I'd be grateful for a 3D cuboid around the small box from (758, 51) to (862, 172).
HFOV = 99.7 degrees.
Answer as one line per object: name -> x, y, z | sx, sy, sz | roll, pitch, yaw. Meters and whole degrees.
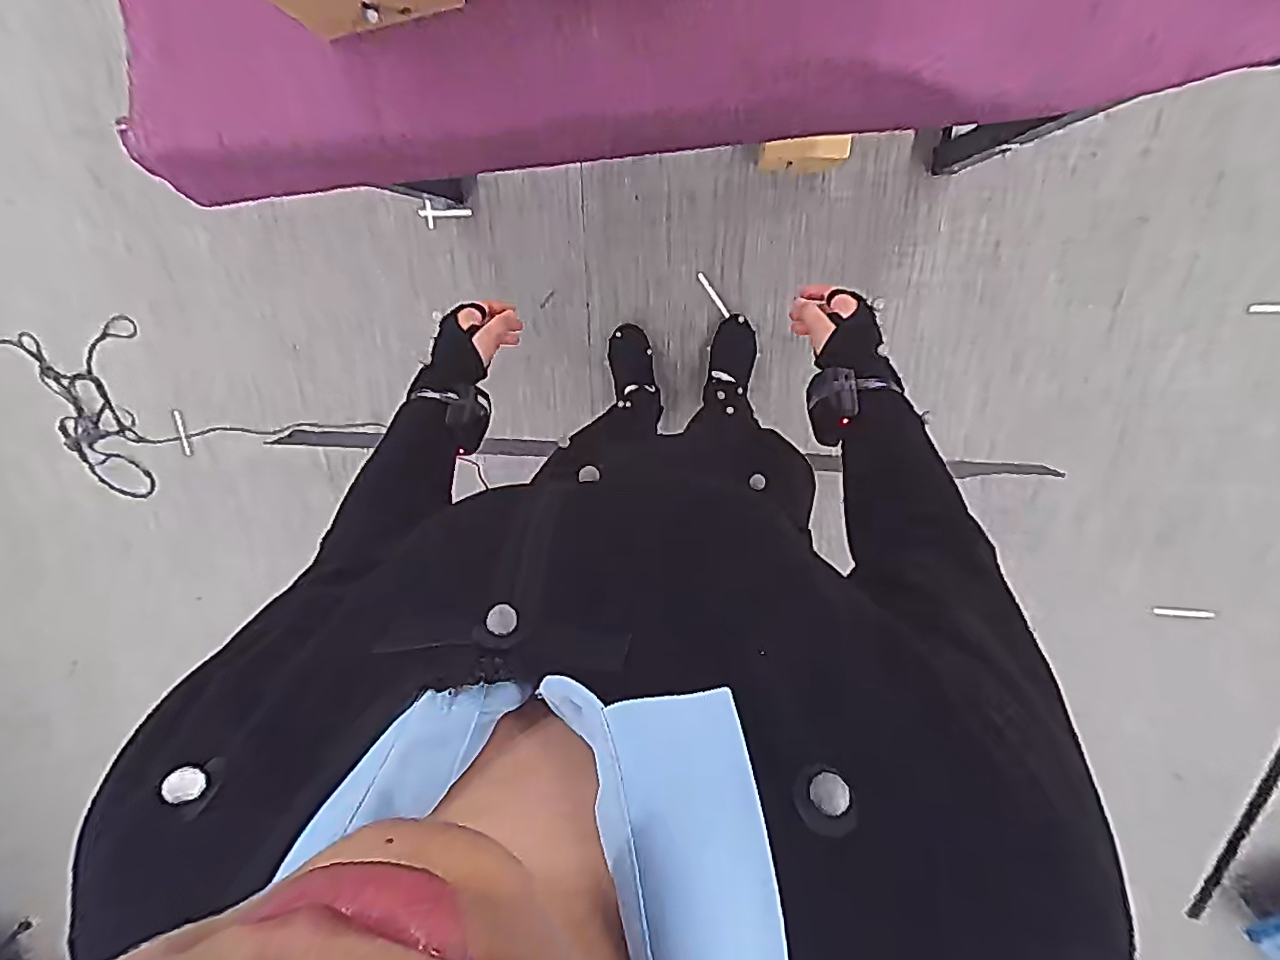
small box -> 0.341, -0.751, 1.119 | 0.168, 0.176, 0.179 | 5, 110, 5
